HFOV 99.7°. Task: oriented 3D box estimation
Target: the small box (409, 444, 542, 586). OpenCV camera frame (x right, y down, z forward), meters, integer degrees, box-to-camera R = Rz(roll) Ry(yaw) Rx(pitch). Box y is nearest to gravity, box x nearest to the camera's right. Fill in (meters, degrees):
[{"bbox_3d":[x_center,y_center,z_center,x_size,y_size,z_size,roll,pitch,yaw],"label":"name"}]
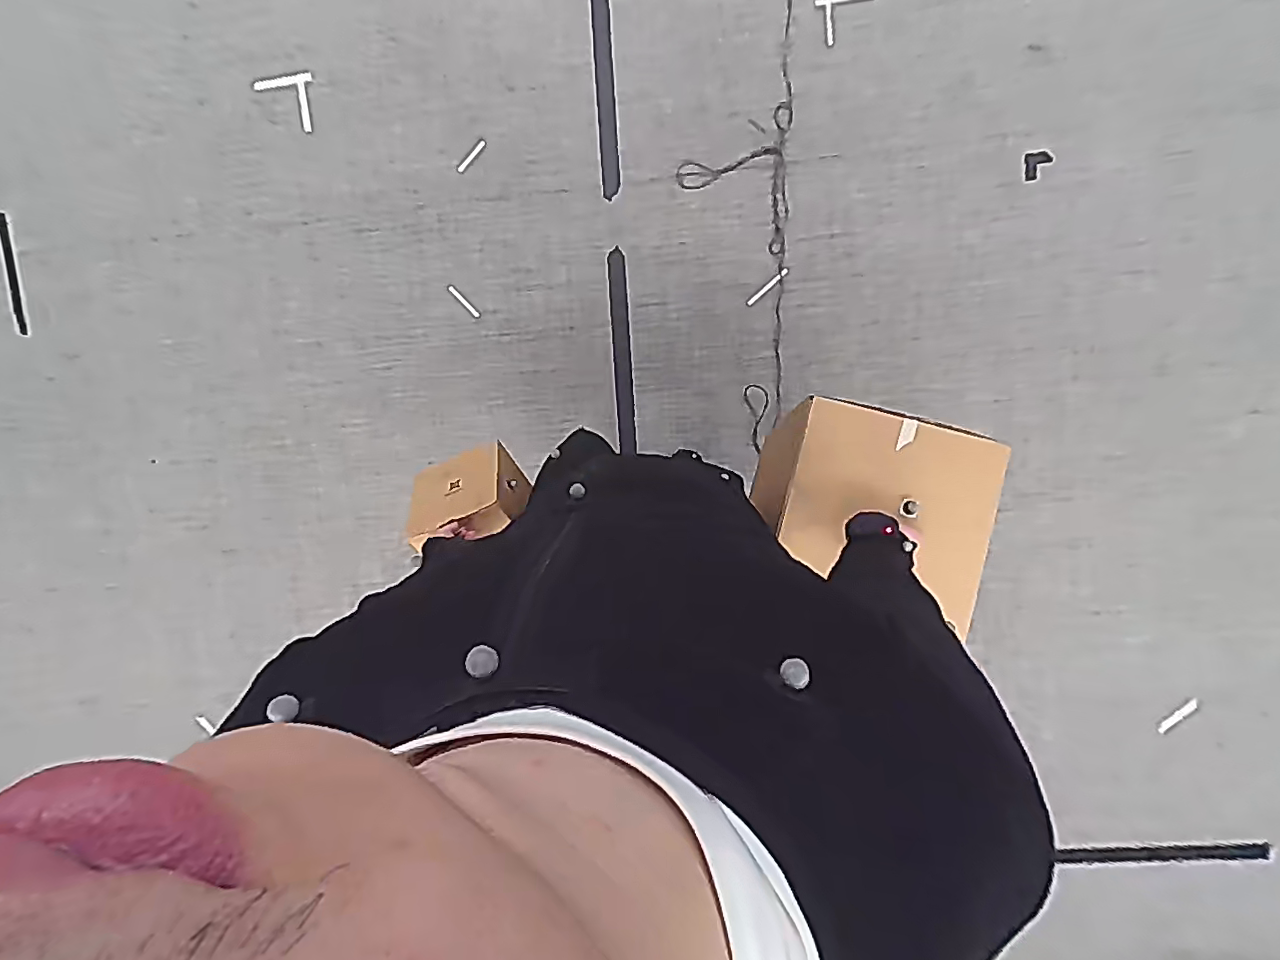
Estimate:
[{"bbox_3d":[-0.289,0.071,0.986,0.168,0.179,0.176,-21,132,6],"label":"small box"}]
